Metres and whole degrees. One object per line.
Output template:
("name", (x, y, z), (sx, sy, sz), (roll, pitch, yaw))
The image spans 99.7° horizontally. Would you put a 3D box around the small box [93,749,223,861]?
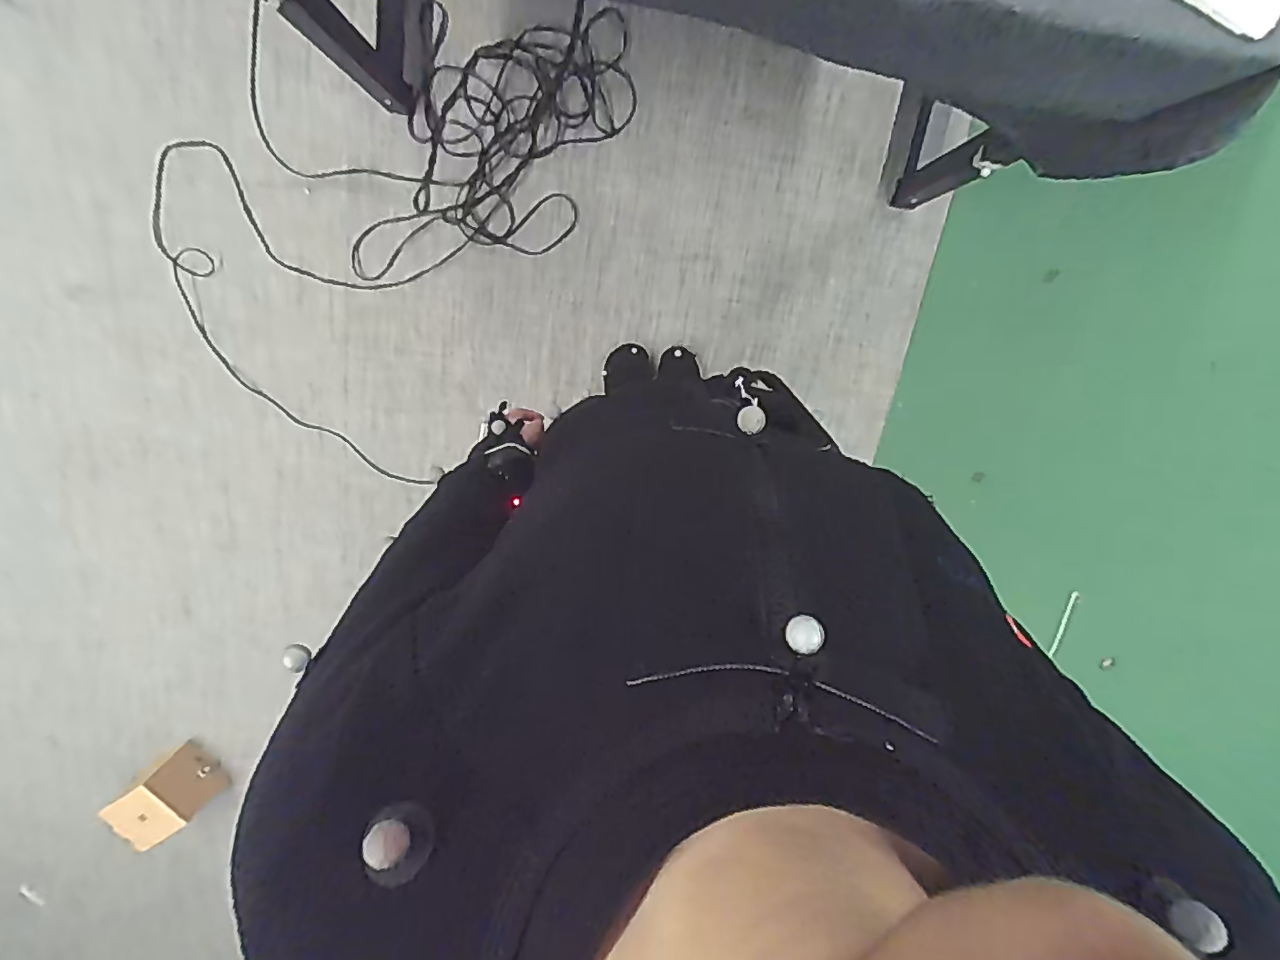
("small box", (-1.337, 0.904, 1.515), (0.179, 0.176, 0.168), (-33, 104, 7))
